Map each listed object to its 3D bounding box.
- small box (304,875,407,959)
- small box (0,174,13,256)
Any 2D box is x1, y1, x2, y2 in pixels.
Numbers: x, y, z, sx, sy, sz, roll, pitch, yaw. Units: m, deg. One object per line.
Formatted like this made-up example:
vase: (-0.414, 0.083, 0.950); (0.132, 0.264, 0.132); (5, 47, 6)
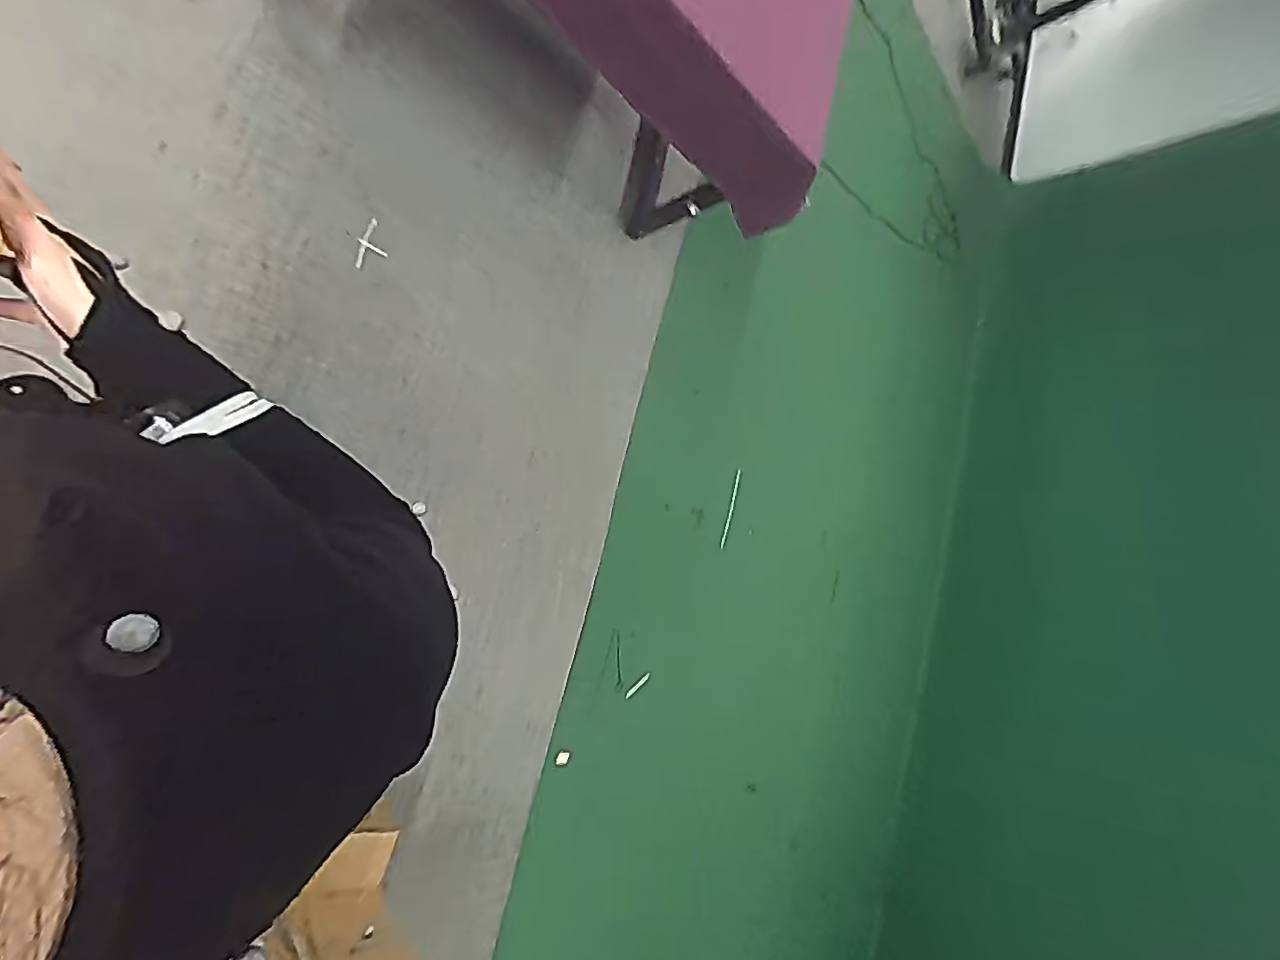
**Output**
small box: (-0.598, 0.931, 1.070); (0.168, 0.176, 0.179); (29, 77, -40)
small box: (-0.471, -0.216, 0.268); (0.179, 0.176, 0.168); (-18, 130, -38)
